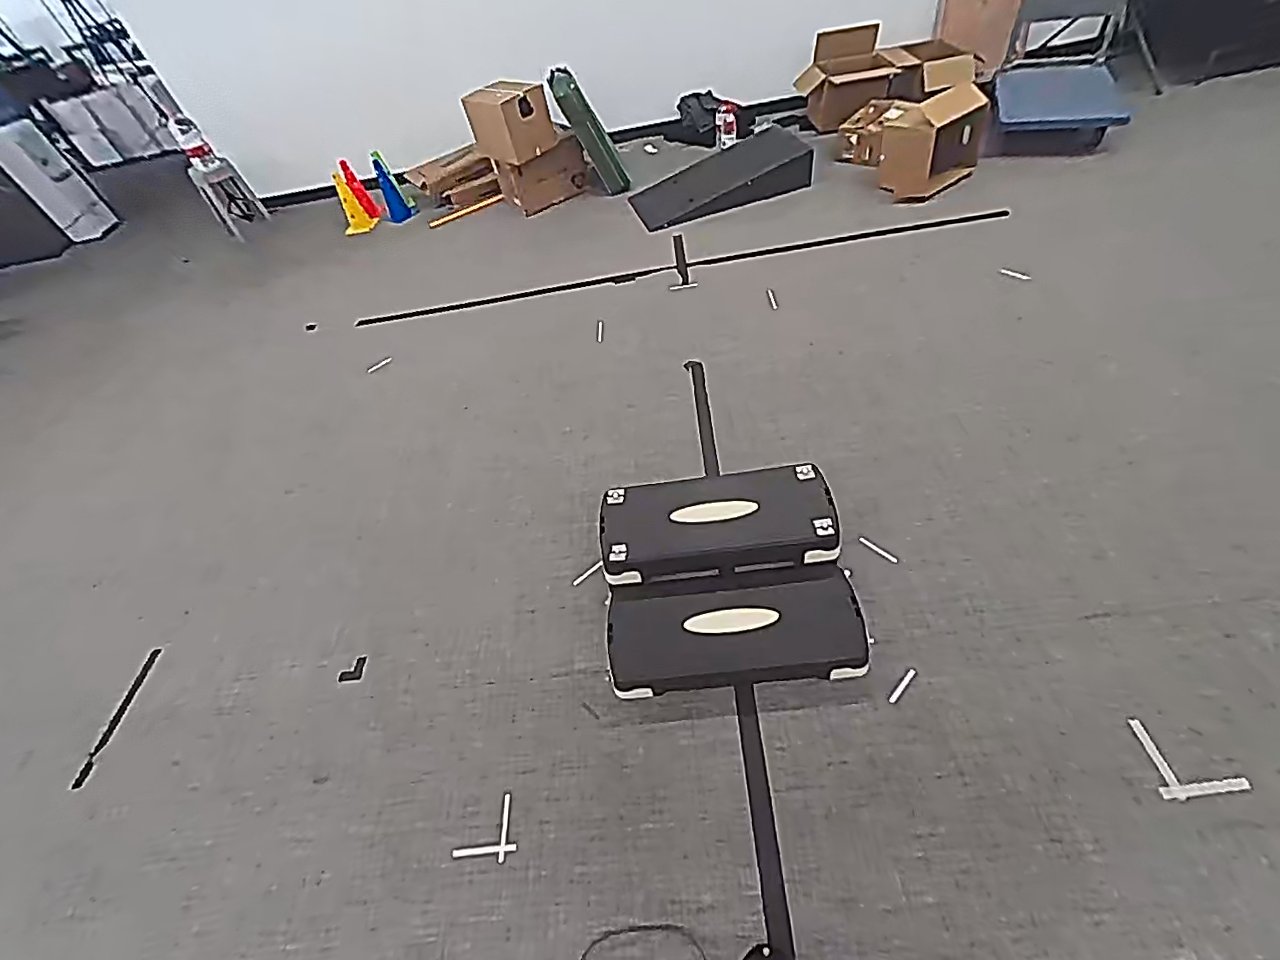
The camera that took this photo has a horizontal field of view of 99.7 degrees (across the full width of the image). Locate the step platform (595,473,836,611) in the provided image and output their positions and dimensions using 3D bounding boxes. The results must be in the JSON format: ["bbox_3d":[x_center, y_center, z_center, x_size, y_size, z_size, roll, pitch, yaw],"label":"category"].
[{"bbox_3d":[0.208,0.178,1.586,0.684,0.204,0.286,-8,50,4],"label":"step platform"}]
